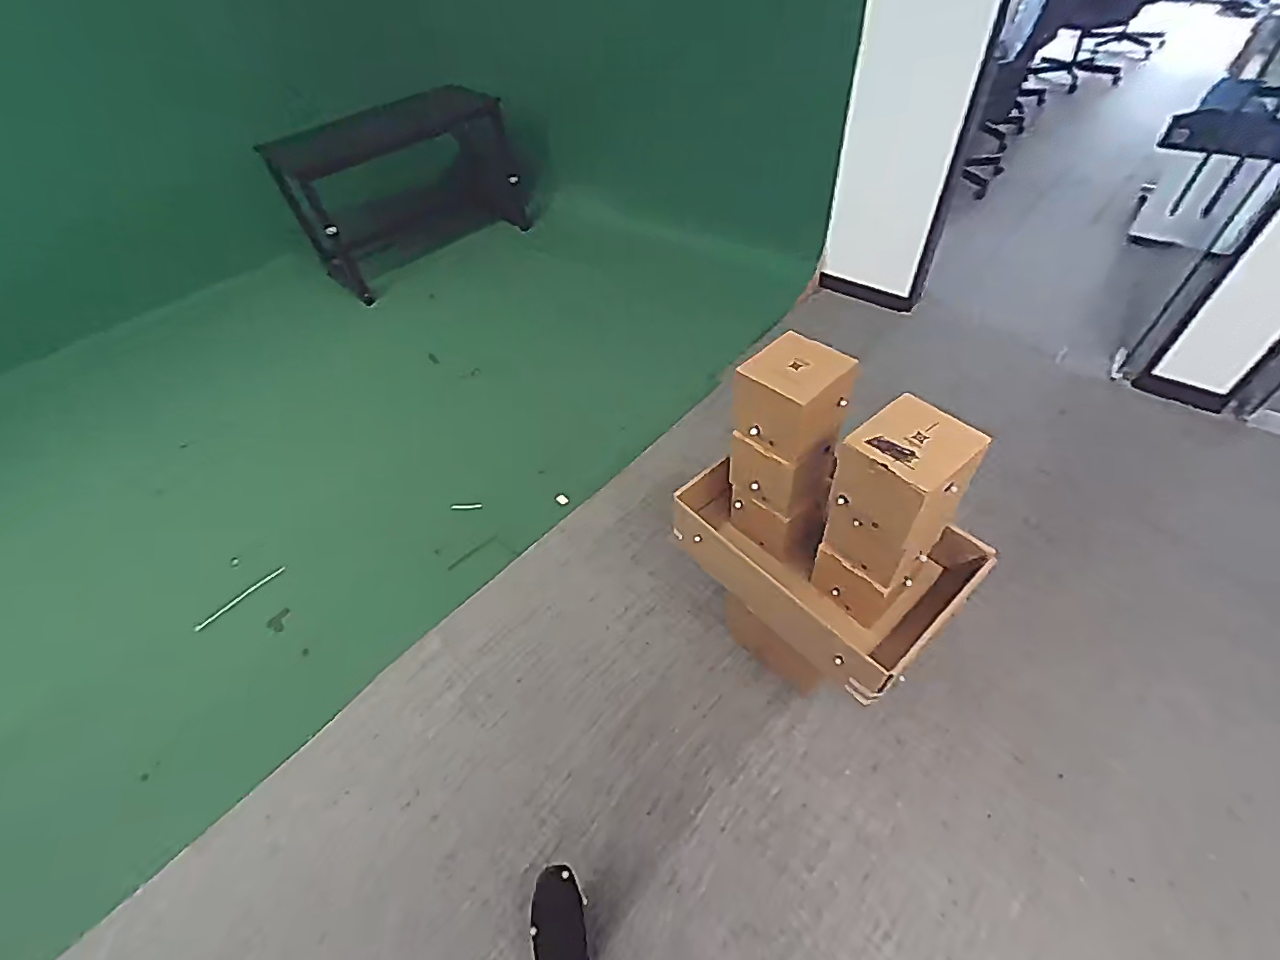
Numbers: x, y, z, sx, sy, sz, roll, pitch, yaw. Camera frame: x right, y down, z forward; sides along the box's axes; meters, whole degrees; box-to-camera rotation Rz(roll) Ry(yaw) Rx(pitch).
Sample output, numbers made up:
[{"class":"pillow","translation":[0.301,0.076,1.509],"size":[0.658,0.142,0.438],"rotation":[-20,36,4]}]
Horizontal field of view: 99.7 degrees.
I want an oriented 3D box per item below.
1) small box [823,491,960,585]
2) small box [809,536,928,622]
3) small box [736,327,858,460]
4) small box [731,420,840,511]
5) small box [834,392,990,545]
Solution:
[{"class":"small box","translation":[0.498,0.076,1.099],"size":[0.179,0.176,0.168],"rotation":[-35,55,-20]},{"class":"small box","translation":[0.506,0.184,1.222],"size":[0.179,0.176,0.168],"rotation":[-37,57,-21]},{"class":"small box","translation":[0.310,-0.177,1.108],"size":[0.179,0.176,0.168],"rotation":[-37,56,-23]},{"class":"small box","translation":[0.319,-0.066,1.228],"size":[0.179,0.176,0.168],"rotation":[-39,57,-23]},{"class":"small box","translation":[0.469,-0.017,0.964],"size":[0.179,0.176,0.168],"rotation":[-34,56,-18]}]
